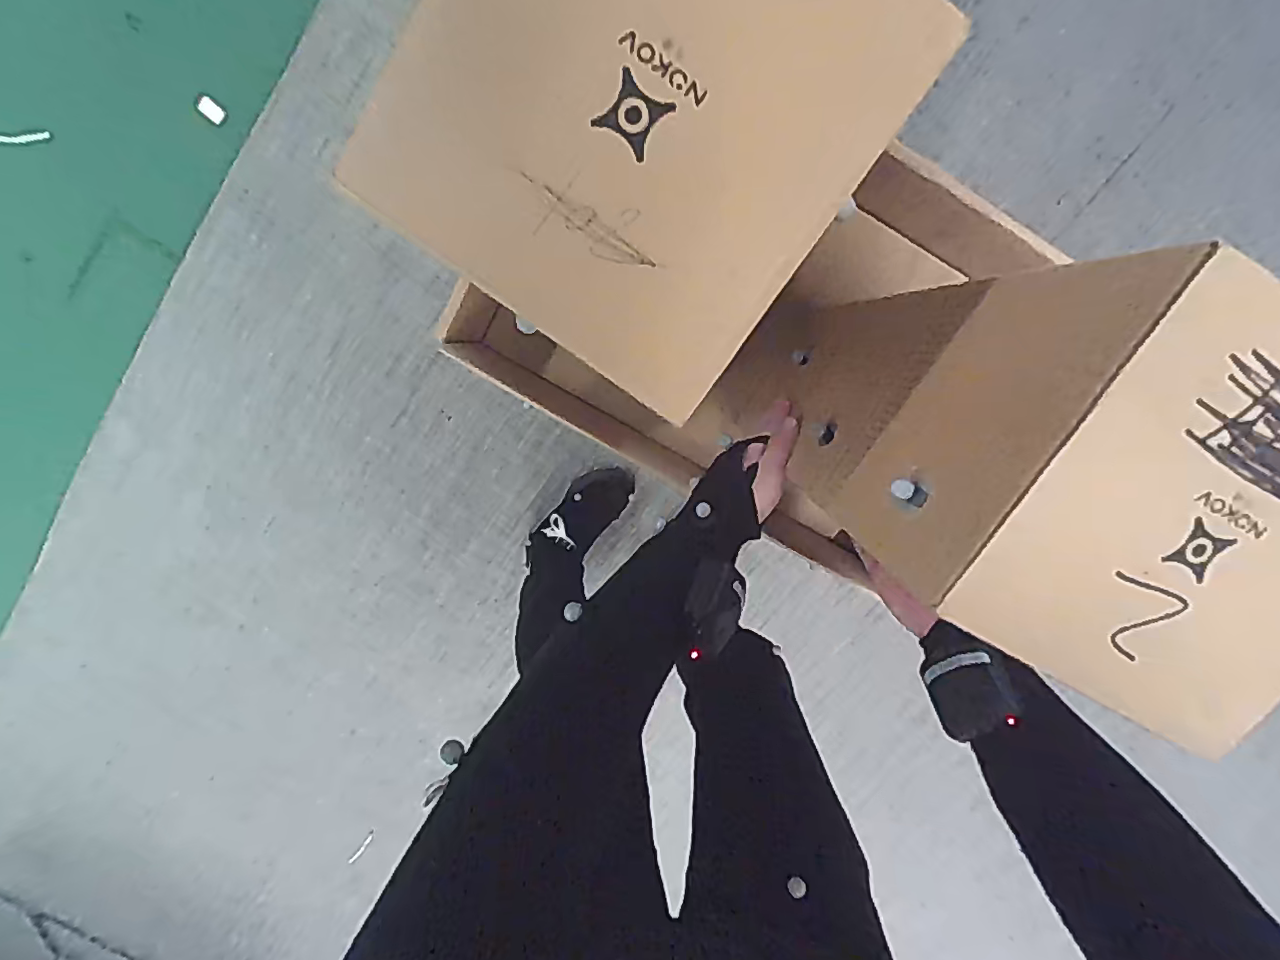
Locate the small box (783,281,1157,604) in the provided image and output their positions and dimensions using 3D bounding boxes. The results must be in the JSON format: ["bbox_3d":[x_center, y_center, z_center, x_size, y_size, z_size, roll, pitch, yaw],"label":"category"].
[{"bbox_3d":[0.241,-0.036,0.453,0.168,0.176,0.179,30,101,-8],"label":"small box"}]

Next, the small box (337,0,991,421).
[{"bbox_3d":[0.006,-0.154,0.265,0.168,0.176,0.179,36,102,-6],"label":"small box"}]
